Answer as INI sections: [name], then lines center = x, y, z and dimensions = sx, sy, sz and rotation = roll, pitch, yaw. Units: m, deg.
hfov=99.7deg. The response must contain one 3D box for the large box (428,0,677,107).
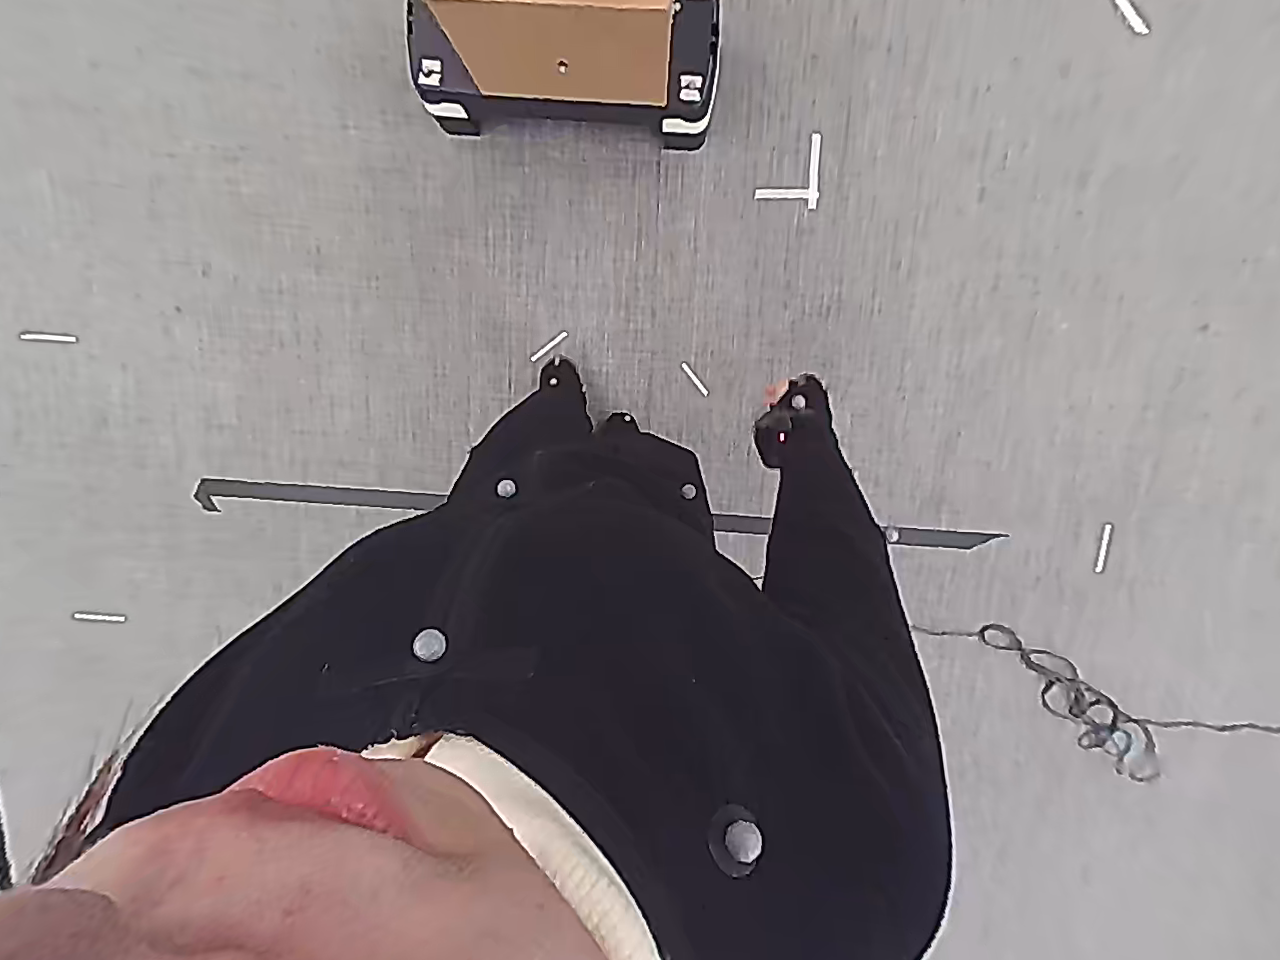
[large box]
center = -0.132, -0.926, 0.990
dimensions = 0.408, 0.320, 0.320
rotation = 4, 99, 2

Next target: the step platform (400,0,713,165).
[step platform]
center = -0.180, -0.951, 1.229
dimensions = 0.684, 0.204, 0.286
rotation = 9, 100, 1
